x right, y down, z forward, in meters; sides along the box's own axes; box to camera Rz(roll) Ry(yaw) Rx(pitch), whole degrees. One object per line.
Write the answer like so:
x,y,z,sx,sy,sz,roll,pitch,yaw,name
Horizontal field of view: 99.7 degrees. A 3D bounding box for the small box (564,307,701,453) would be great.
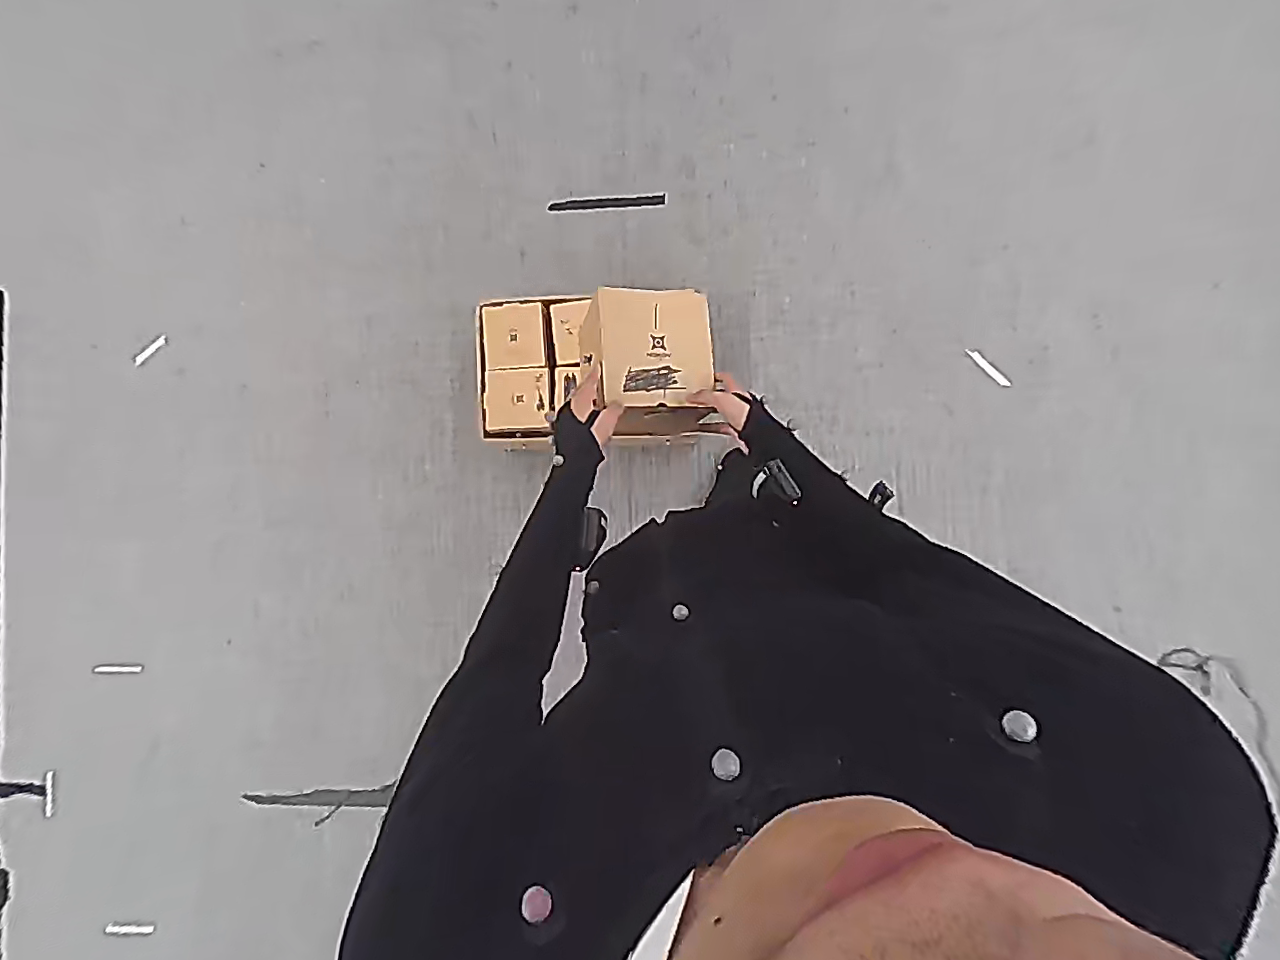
-0.020,-0.142,0.833,0.168,0.176,0.179,-2,77,-18,small box
